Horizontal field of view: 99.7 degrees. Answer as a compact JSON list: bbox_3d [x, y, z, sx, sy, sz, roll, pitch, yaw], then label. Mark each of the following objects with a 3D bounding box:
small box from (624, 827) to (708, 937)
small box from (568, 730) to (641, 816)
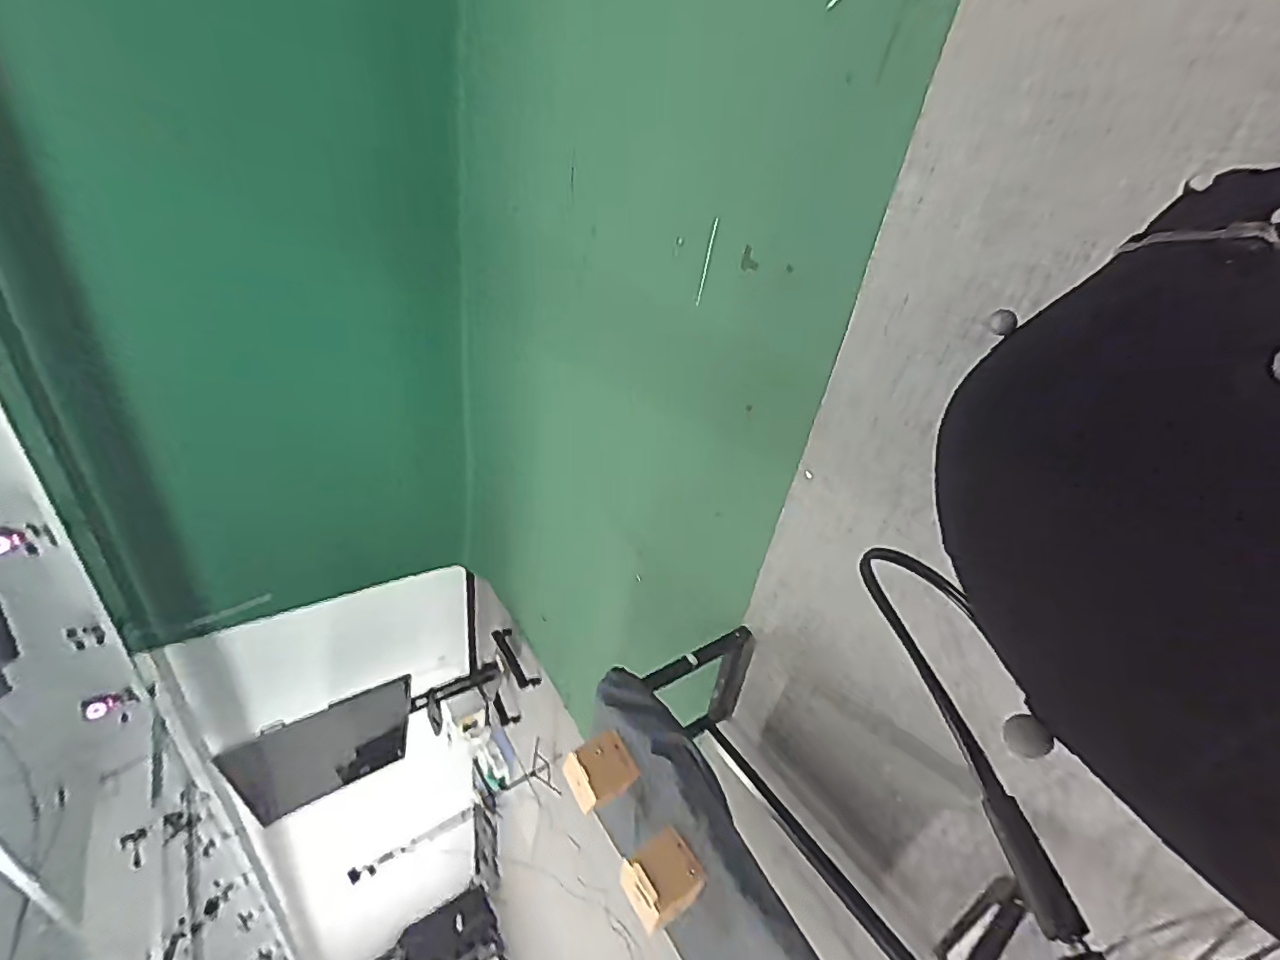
[{"bbox_3d":[0.077,1.164,1.578,0.168,0.176,0.179,42,135,40],"label":"small box"},{"bbox_3d":[-0.115,0.963,1.786,0.168,0.176,0.179,52,142,32],"label":"small box"}]
